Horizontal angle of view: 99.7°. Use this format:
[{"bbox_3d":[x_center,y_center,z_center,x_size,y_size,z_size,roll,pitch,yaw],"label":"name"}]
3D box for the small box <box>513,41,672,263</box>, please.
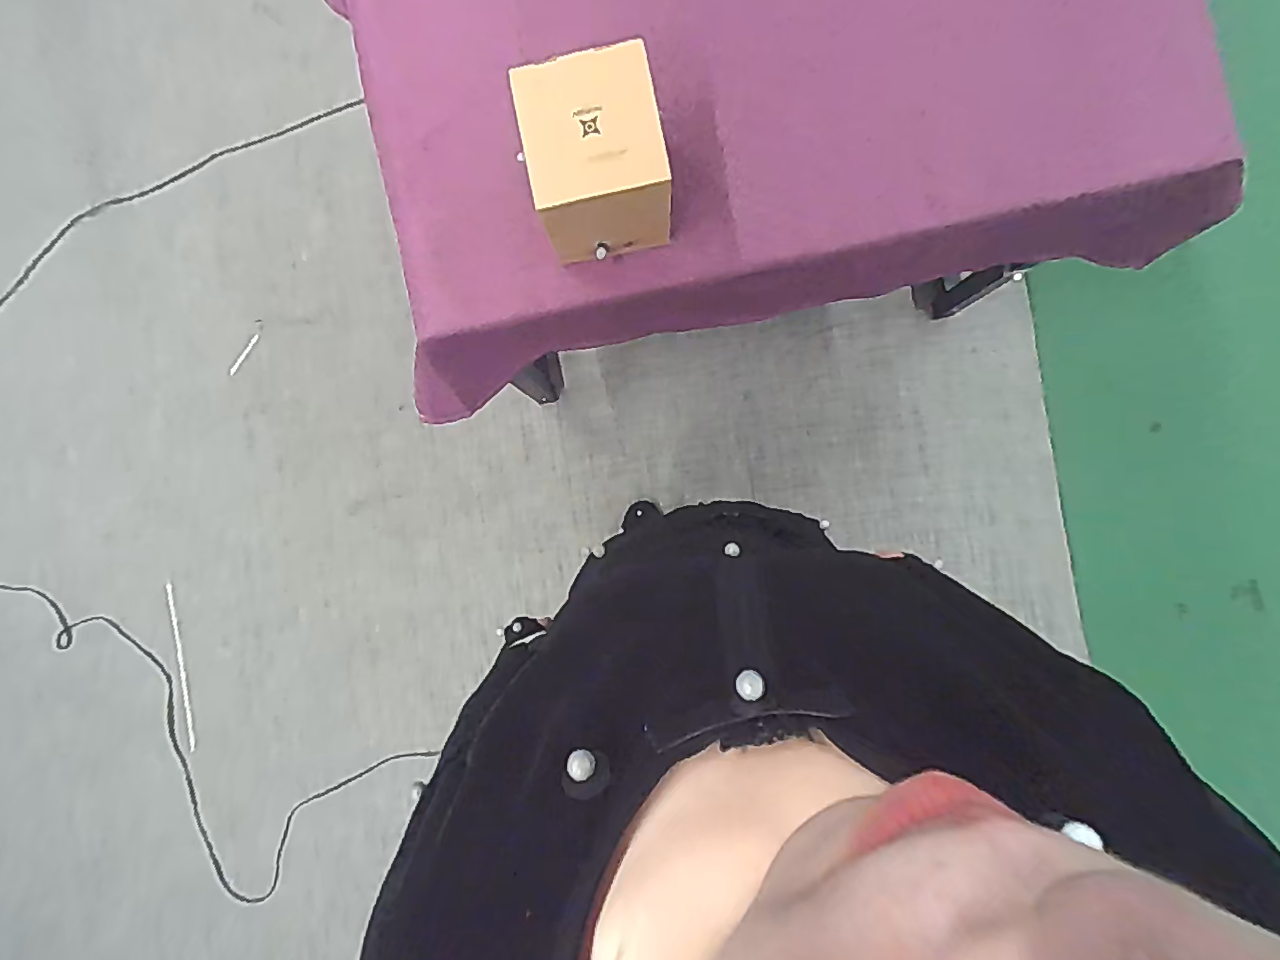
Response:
[{"bbox_3d":[-0.055,-0.418,0.717,0.168,0.176,0.179,-11,89,3],"label":"small box"}]
